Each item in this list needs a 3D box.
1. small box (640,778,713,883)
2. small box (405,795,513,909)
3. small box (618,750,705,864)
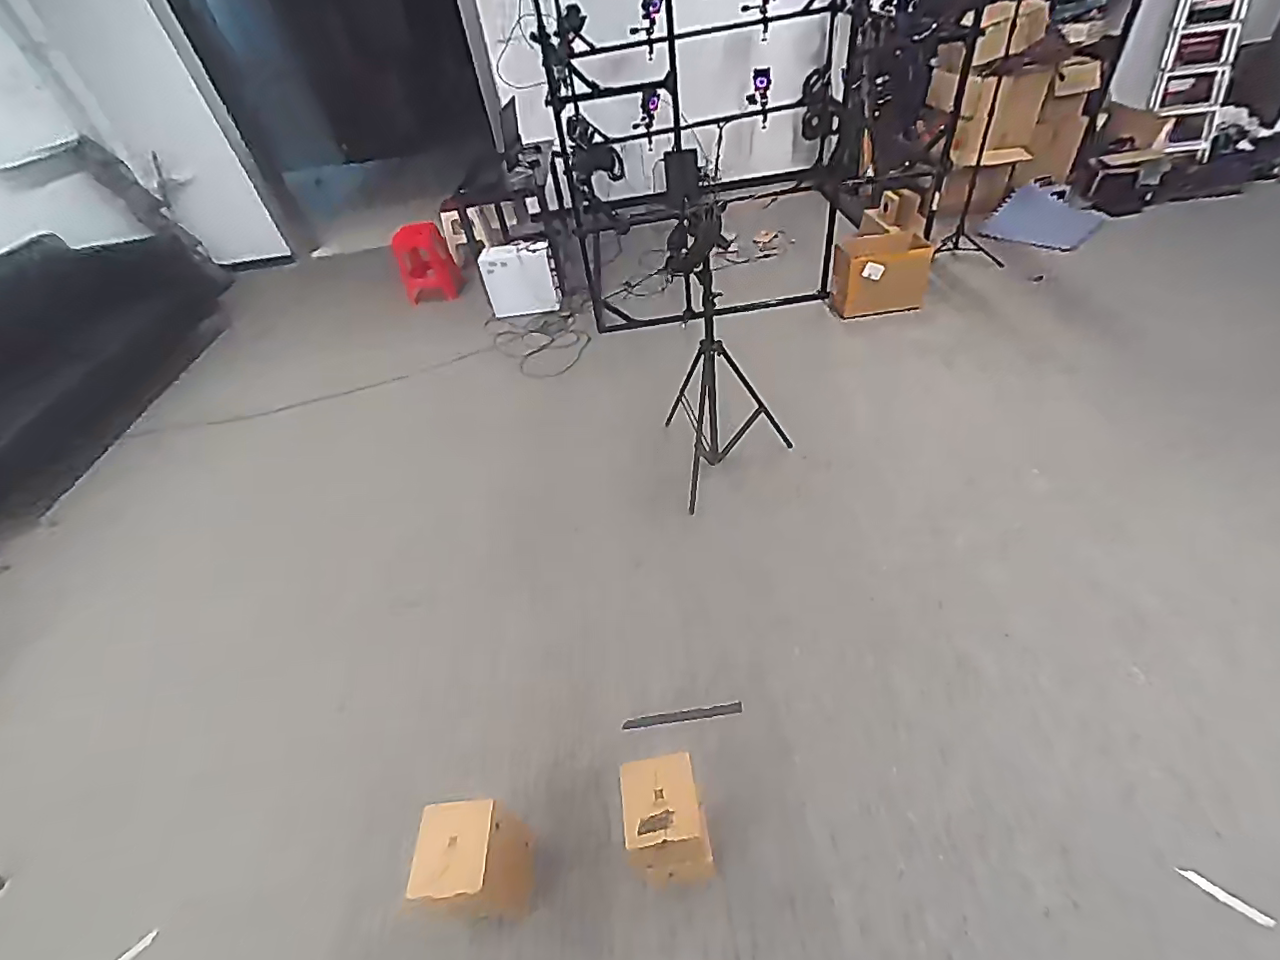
[{"bbox_3d":[0.083,0.870,1.335,0.168,0.176,0.179,-10,42,0],"label":"small box"},{"bbox_3d":[-0.395,0.839,1.218,0.168,0.176,0.179,-8,43,4],"label":"small box"},{"bbox_3d":[0.050,0.748,1.229,0.168,0.176,0.179,-10,41,0],"label":"small box"}]
